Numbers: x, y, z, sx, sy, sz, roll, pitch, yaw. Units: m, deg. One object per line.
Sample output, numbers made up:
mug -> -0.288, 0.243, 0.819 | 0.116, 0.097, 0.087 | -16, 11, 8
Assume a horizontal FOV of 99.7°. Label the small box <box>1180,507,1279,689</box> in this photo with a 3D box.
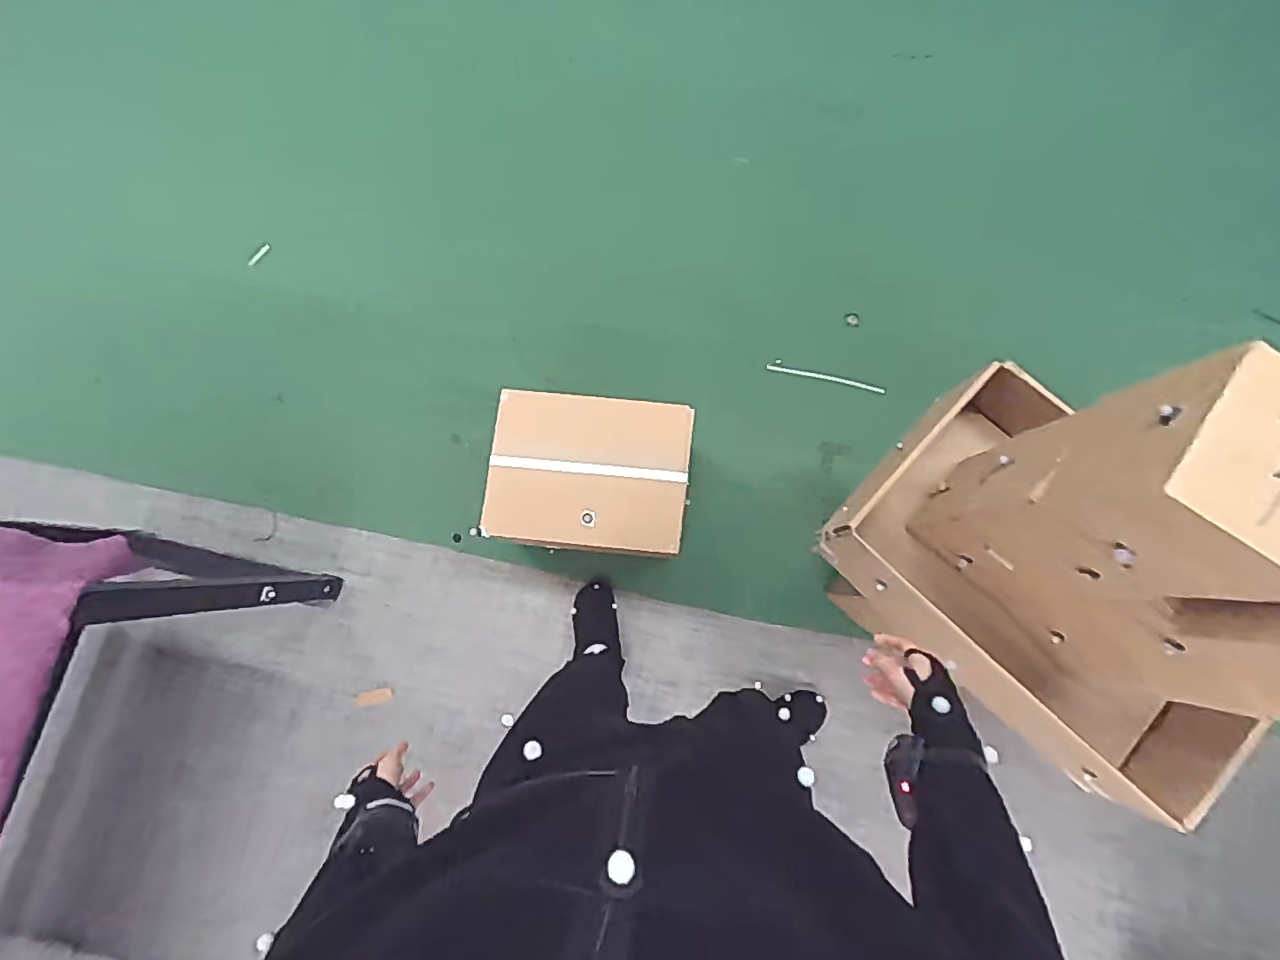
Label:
small box -> 0.707, 0.128, 0.529 | 0.179, 0.176, 0.168 | 29, 81, 9
